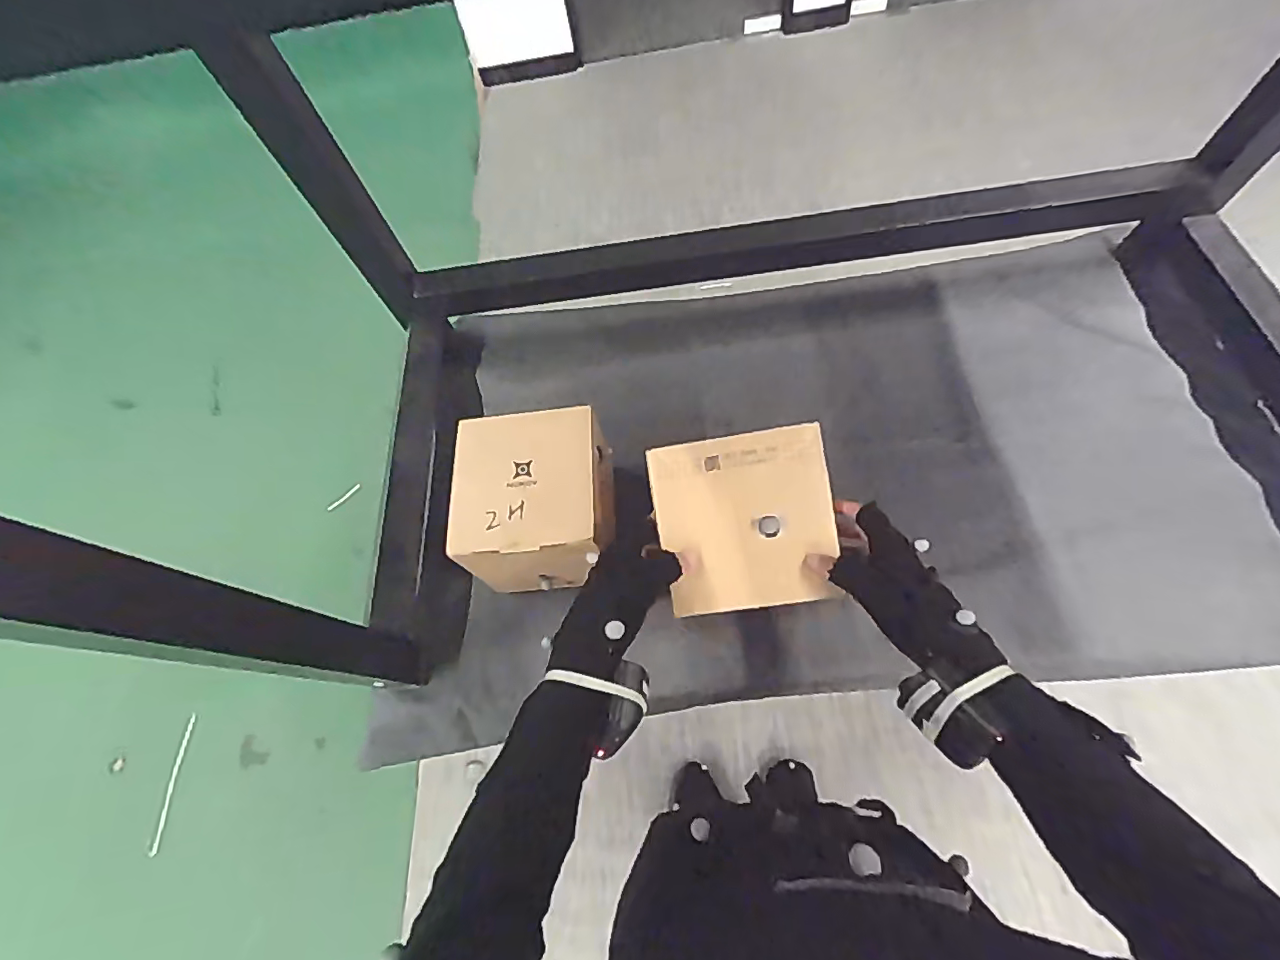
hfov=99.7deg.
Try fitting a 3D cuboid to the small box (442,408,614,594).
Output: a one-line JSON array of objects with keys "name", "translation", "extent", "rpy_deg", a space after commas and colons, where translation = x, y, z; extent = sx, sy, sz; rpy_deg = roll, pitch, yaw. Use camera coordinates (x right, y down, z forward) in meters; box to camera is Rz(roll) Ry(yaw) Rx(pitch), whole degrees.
[{"name": "small box", "translation": [-0.128, 0.033, 0.687], "extent": [0.168, 0.176, 0.179], "rpy_deg": [-6, 63, 5]}]
